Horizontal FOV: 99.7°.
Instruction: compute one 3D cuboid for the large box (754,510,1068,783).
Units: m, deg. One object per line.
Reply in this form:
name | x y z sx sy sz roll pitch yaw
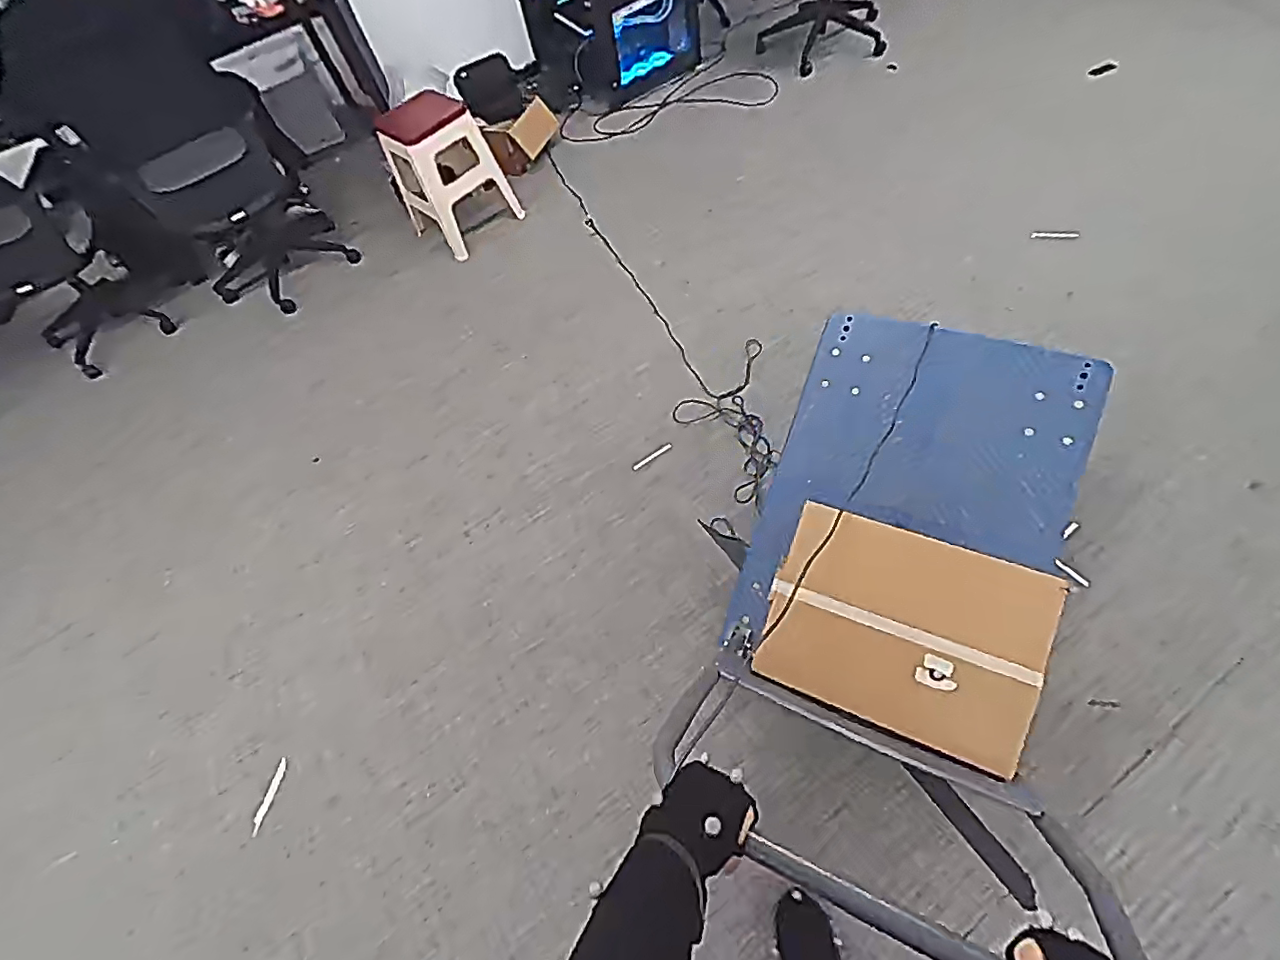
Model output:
large box | 0.458 0.273 1.004 0.408 0.320 0.320 18 87 19
